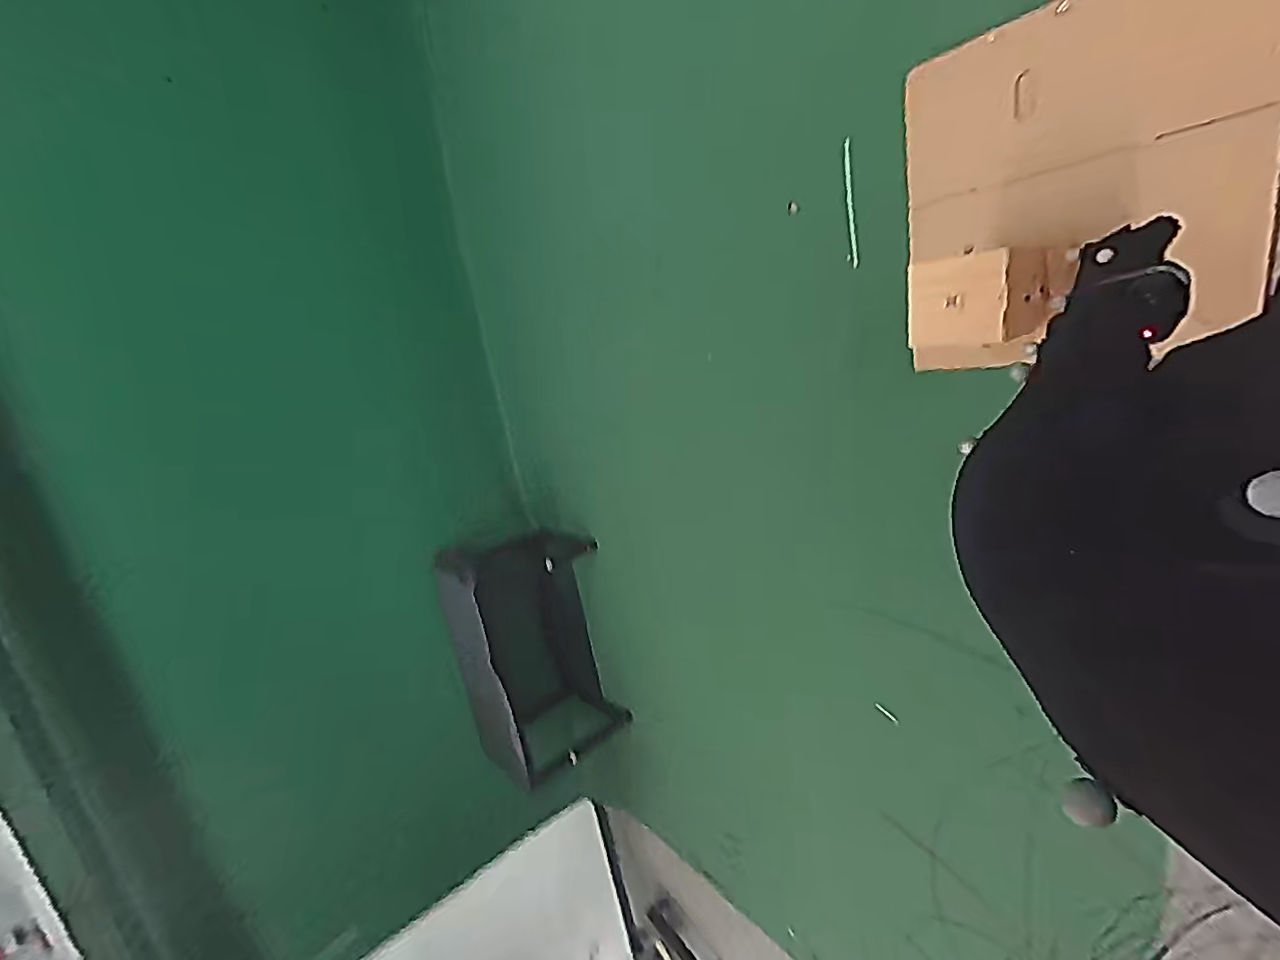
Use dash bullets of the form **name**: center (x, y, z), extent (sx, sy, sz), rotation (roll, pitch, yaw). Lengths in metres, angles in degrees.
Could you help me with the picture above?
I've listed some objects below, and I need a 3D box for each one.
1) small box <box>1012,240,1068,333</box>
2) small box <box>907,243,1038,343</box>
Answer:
- **small box**: center (0.791, -0.410, 1.162), extent (0.179, 0.176, 0.168), rotation (11, 116, 51)
- **small box**: center (0.658, -0.369, 1.076), extent (0.179, 0.176, 0.168), rotation (12, 116, 50)
